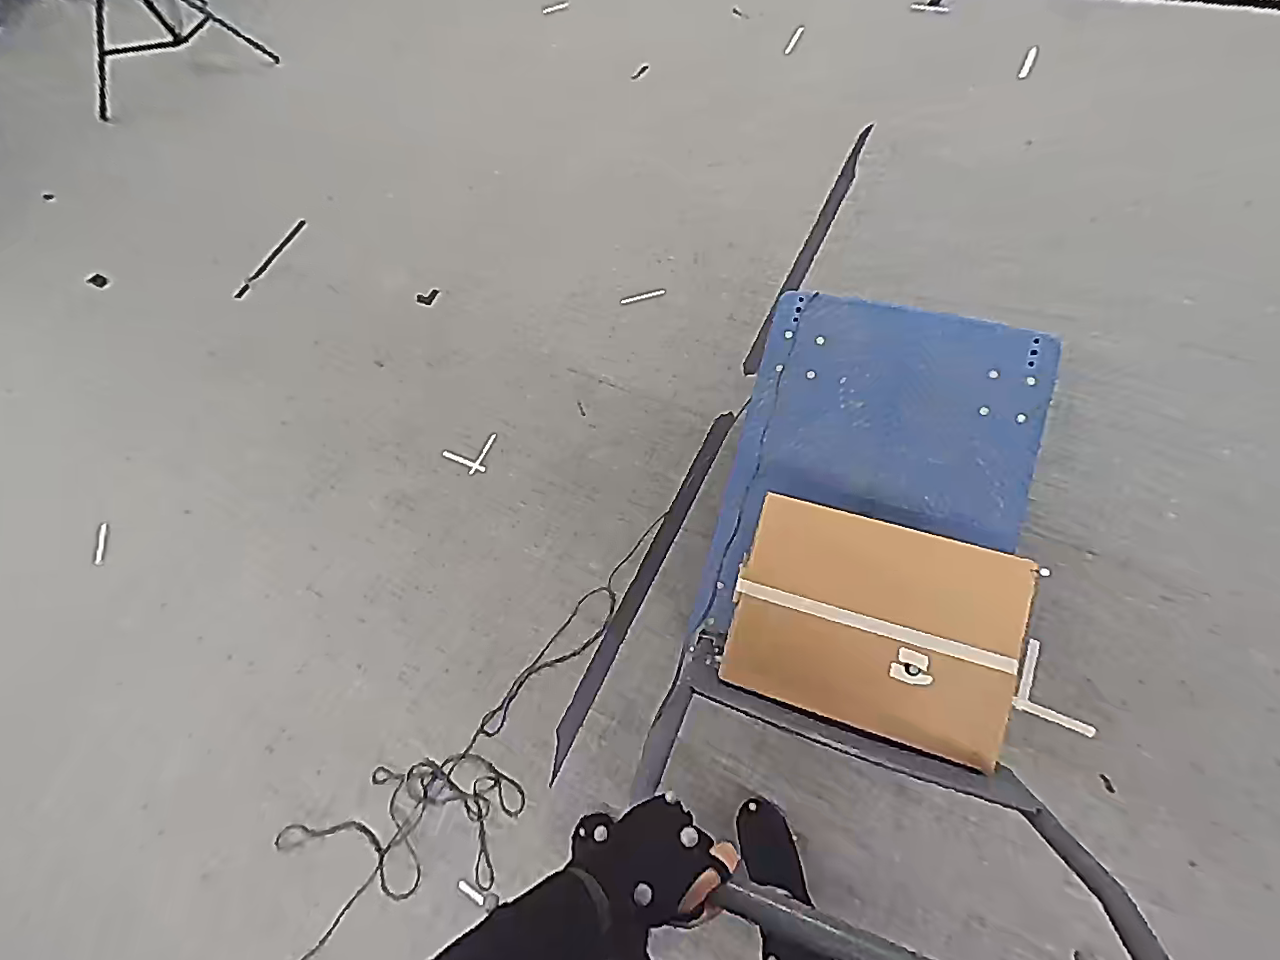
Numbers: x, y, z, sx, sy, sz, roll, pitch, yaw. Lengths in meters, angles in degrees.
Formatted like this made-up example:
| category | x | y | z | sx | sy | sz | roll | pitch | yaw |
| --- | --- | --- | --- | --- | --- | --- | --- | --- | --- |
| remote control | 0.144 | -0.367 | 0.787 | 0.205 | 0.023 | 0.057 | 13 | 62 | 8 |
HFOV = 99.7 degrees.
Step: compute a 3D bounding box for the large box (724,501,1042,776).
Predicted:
| category | x | y | z | sx | sy | sz | roll | pitch | yaw |
| --- | --- | --- | --- | --- | --- | --- | --- | --- | --- |
| large box | 0.381 | 0.244 | 0.952 | 0.408 | 0.320 | 0.320 | 15 | 86 | 13 |
